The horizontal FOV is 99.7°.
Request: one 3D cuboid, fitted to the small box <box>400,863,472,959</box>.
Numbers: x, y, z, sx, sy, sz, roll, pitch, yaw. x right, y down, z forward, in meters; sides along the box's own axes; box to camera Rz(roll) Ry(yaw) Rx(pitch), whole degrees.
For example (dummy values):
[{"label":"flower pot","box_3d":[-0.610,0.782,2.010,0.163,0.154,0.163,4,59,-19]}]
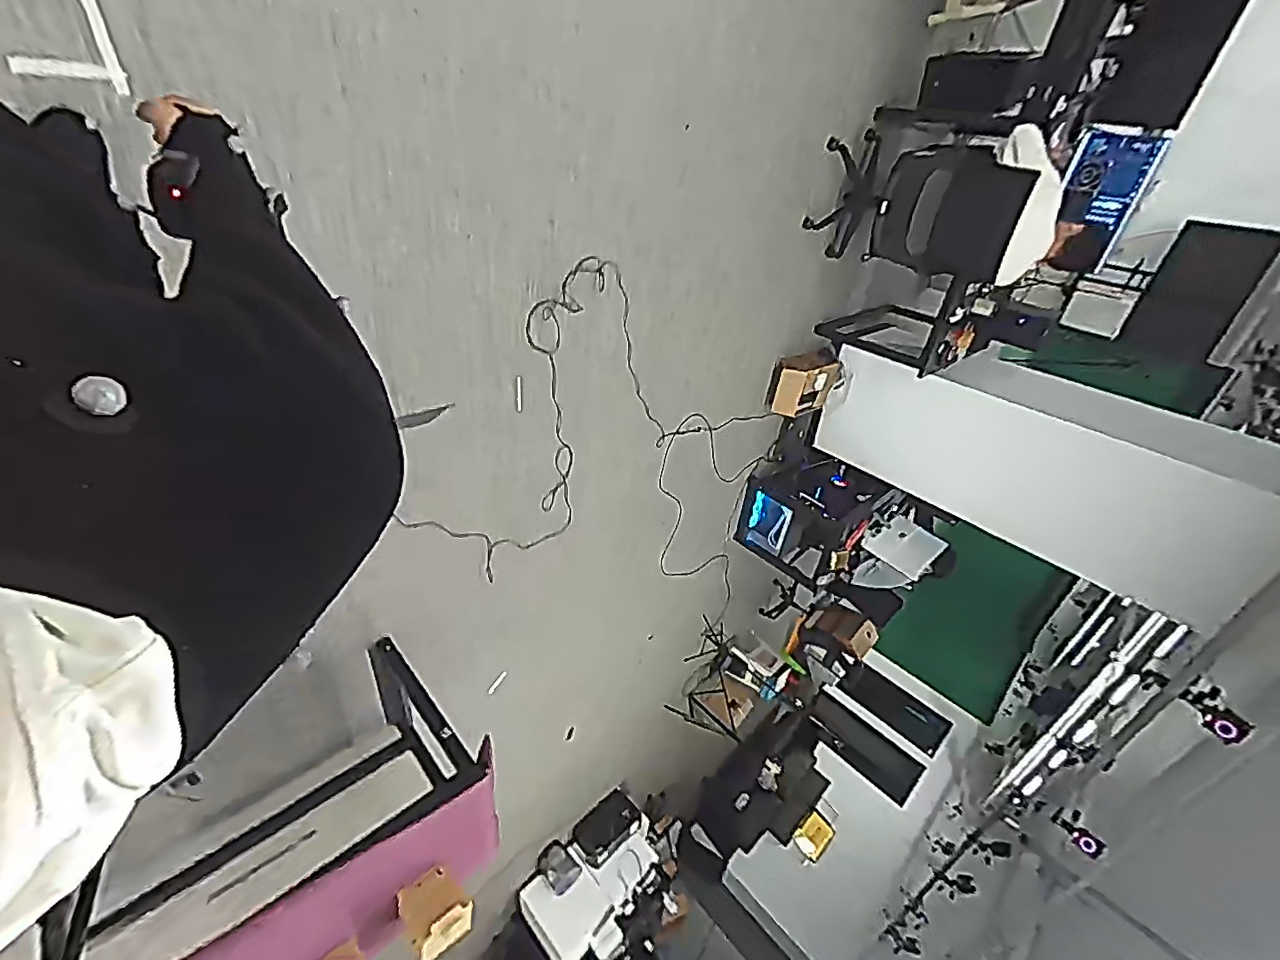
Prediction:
[{"label":"small box","box_3d":[-0.661,1.394,1.749,0.168,0.176,0.179,-17,130,-43]}]
